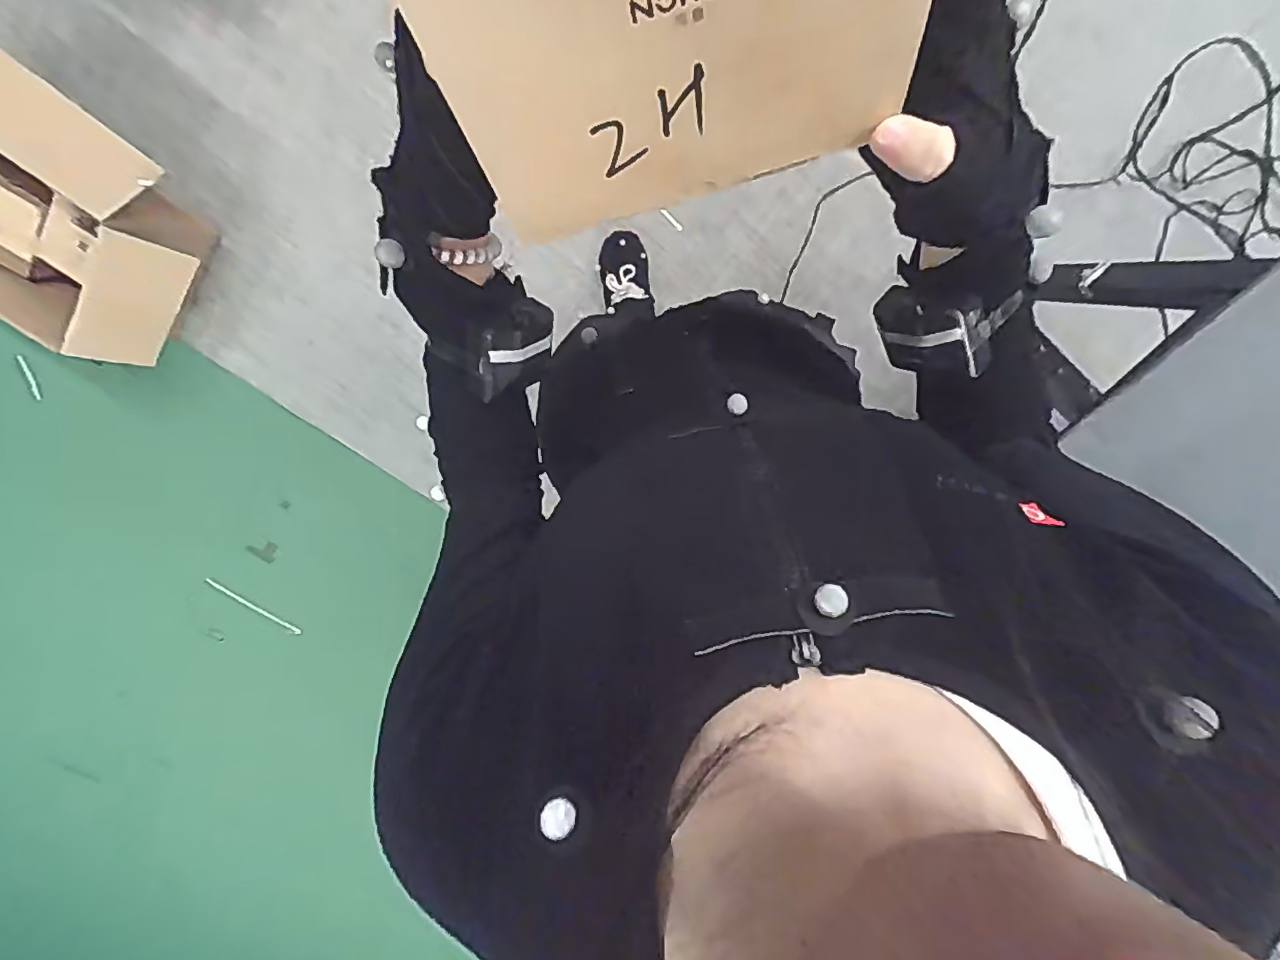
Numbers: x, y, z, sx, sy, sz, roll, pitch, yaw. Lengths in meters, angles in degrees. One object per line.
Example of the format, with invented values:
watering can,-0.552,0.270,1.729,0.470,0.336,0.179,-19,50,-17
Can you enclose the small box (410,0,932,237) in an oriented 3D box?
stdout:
small box,-0.003,-0.229,0.183,0.168,0.179,0.176,-14,68,5
